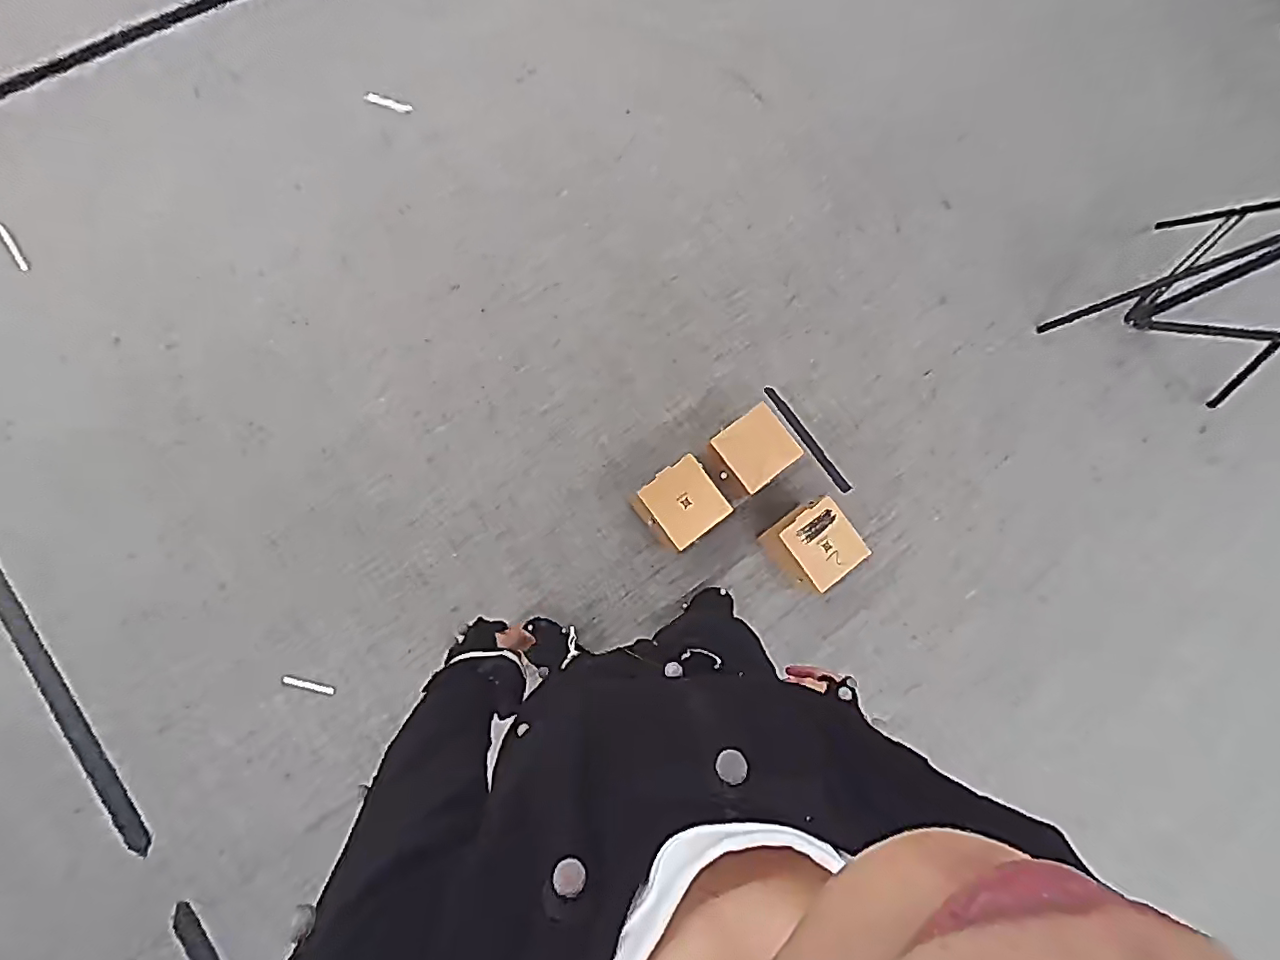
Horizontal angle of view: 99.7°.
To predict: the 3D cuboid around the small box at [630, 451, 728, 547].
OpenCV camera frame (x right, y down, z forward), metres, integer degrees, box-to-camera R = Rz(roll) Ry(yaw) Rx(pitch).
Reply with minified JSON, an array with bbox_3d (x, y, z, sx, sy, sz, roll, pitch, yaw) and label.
[{"bbox_3d":[0.092,0.054,1.365,0.168,0.176,0.179,-36,86,-10],"label":"small box"}]
